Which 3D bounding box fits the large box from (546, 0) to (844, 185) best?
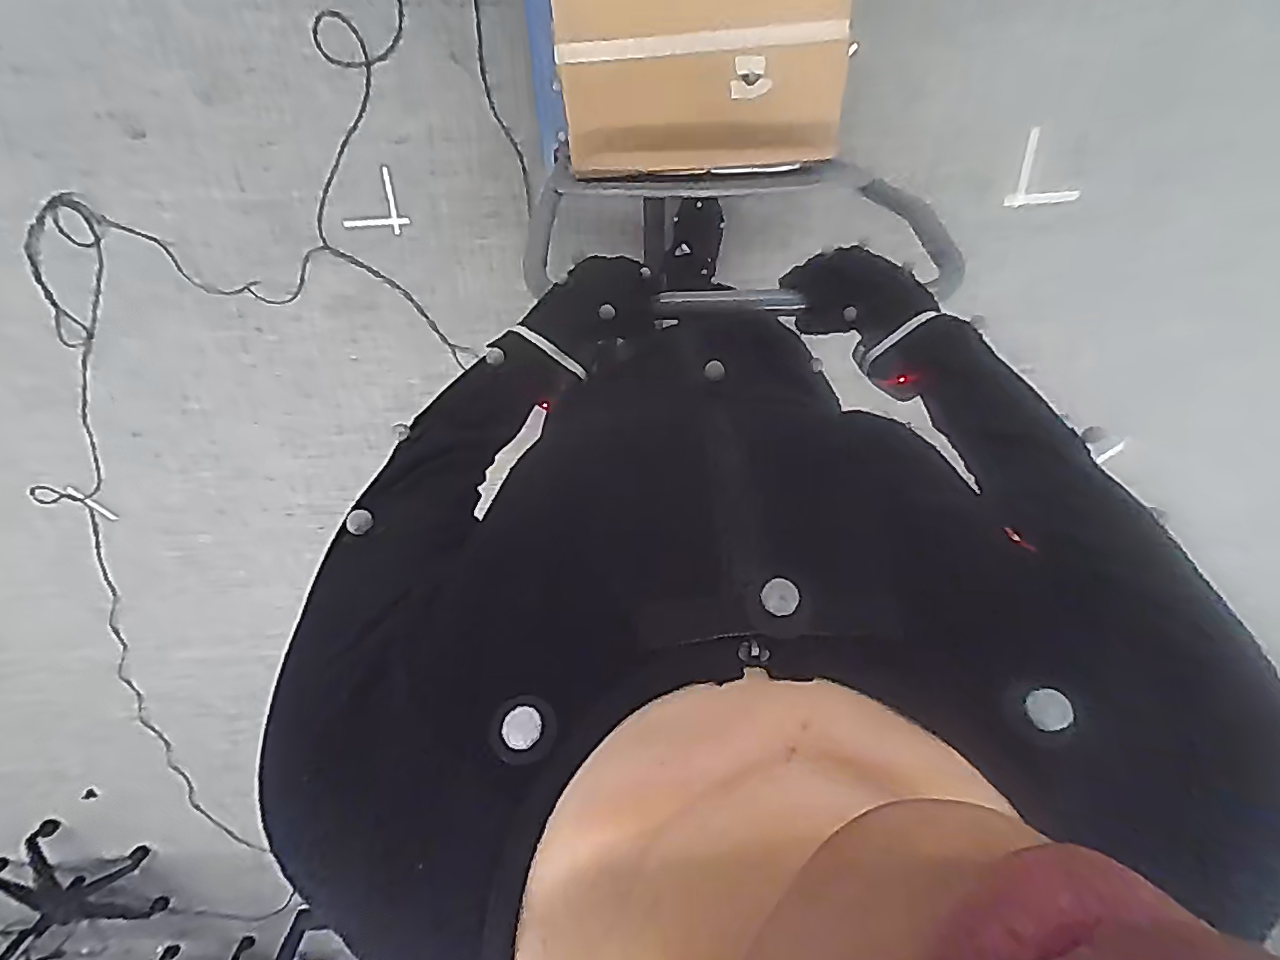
[{"bbox_3d":[0.070,-0.685,0.865,0.408,0.320,0.320,-5,127,0],"label":"large box"}]
